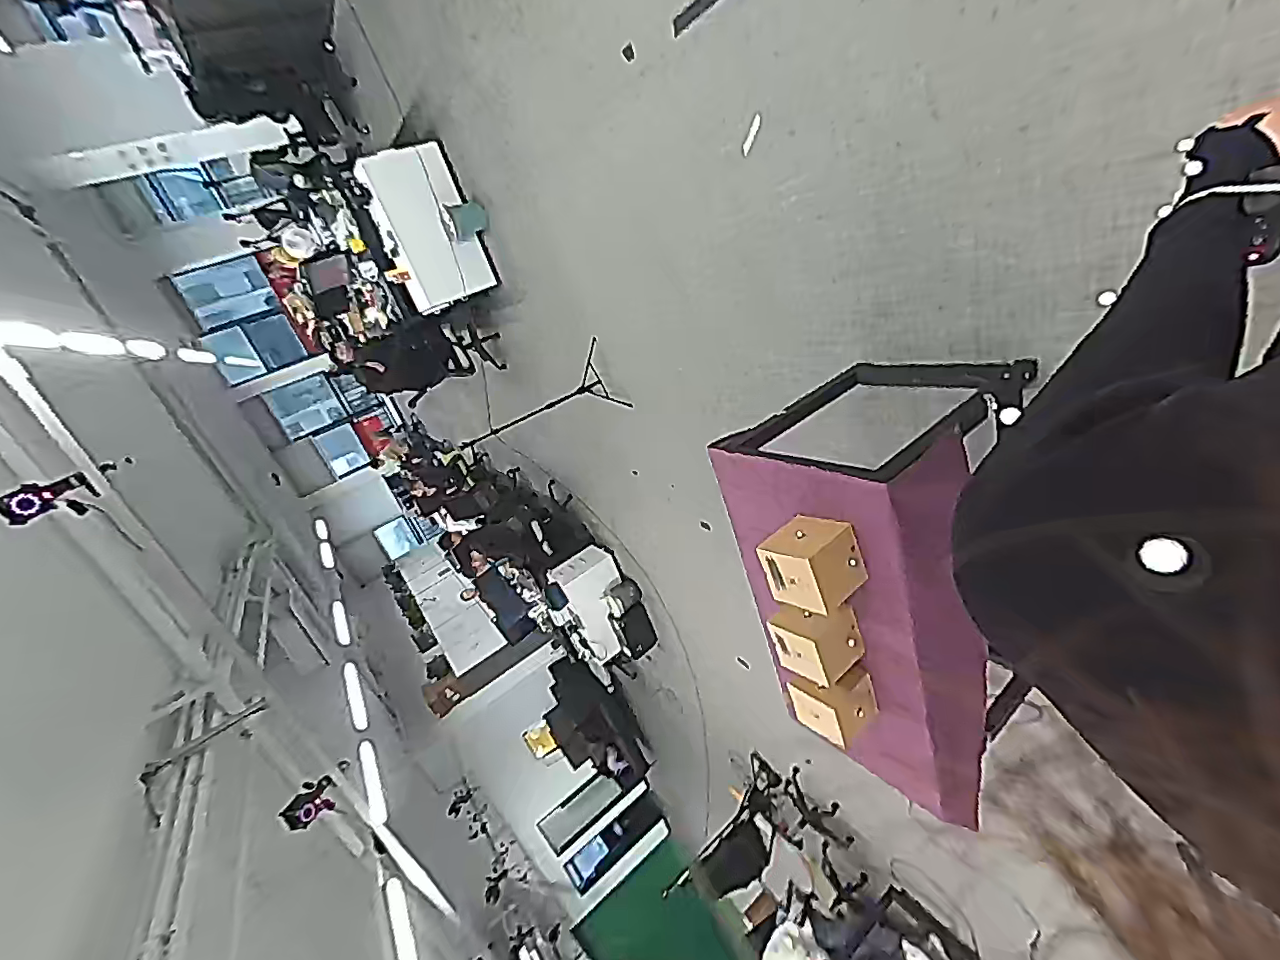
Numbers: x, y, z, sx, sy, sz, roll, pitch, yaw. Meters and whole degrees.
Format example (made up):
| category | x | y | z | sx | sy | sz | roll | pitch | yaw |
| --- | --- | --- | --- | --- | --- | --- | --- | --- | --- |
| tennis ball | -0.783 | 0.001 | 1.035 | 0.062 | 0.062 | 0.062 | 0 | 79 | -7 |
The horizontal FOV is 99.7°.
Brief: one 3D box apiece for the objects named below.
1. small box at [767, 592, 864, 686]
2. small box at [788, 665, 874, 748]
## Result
| category | x | y | z | sx | sy | sz | roll | pitch | yaw |
| --- | --- | --- | --- | --- | --- | --- | --- | --- | --- |
| small box | 0.500 | 0.442 | 1.538 | 0.179 | 0.176 | 0.168 | 10 | 127 | 58 |
| small box | 0.581 | 0.652 | 1.626 | 0.179 | 0.176 | 0.168 | 16 | 132 | 57 |
